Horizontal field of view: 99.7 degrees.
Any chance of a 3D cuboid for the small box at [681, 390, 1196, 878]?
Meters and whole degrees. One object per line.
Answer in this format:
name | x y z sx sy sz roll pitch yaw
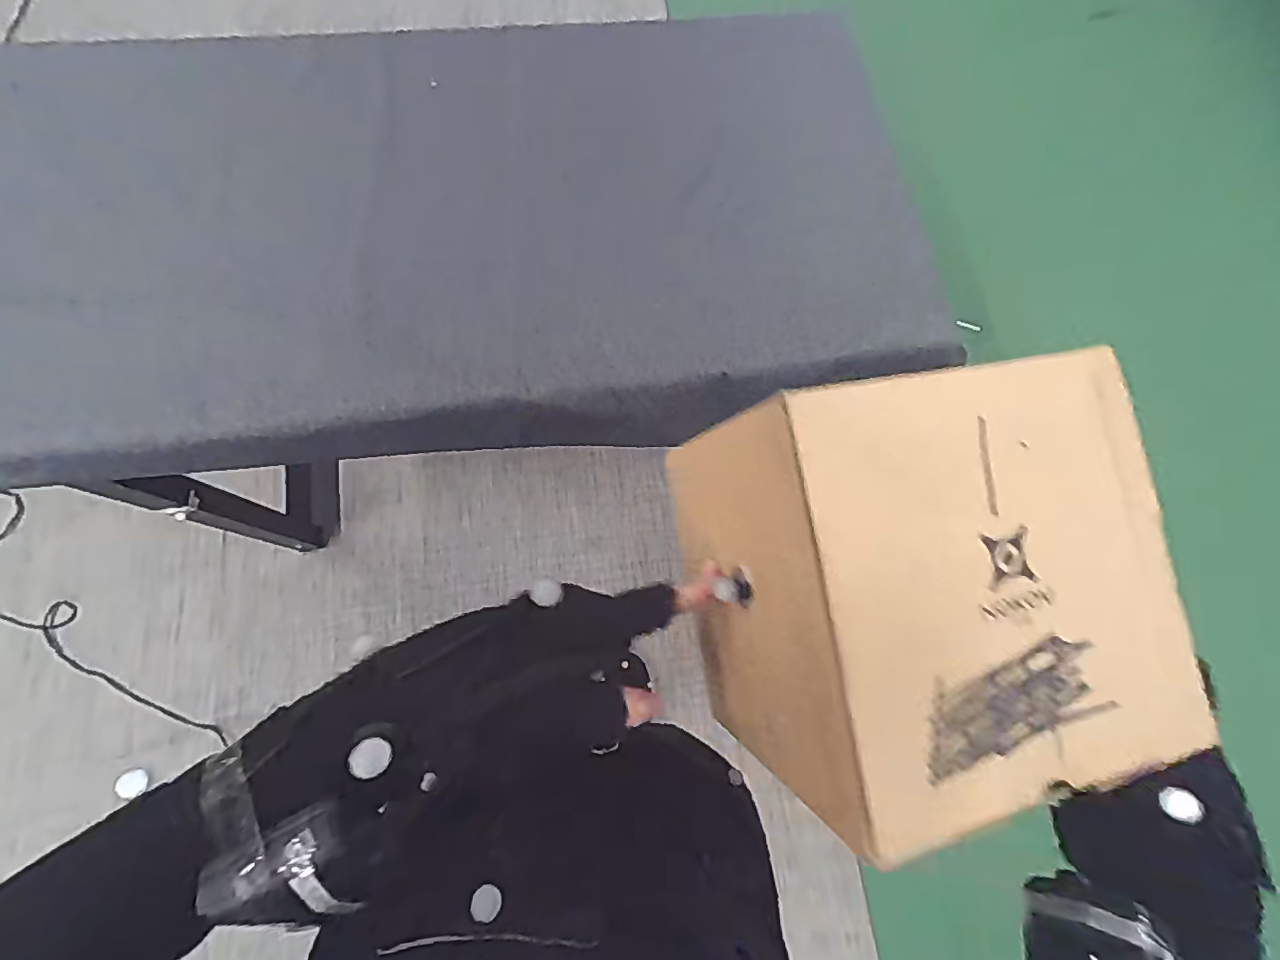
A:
small box | 0.133 0.062 0.302 0.168 0.176 0.179 -8 85 -13
